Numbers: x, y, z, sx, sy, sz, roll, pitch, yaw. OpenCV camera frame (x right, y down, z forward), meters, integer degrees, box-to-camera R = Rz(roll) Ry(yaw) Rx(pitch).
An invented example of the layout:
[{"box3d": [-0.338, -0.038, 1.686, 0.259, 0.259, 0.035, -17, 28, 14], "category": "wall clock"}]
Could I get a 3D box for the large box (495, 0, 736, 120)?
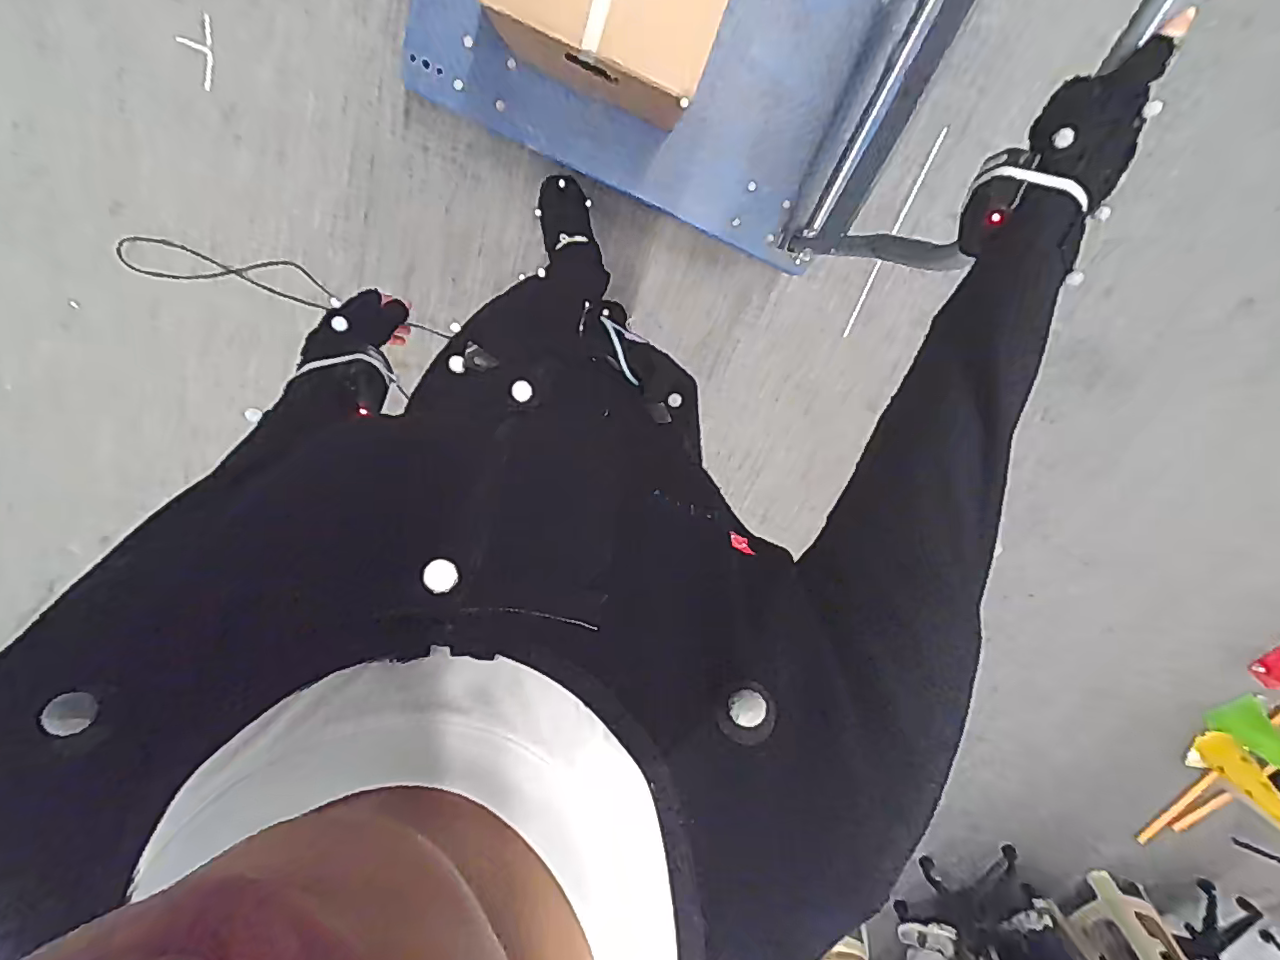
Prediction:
[{"box3d": [0.007, -0.829, 0.793, 0.320, 0.320, 0.408, 18, 115, -10], "category": "large box"}]
